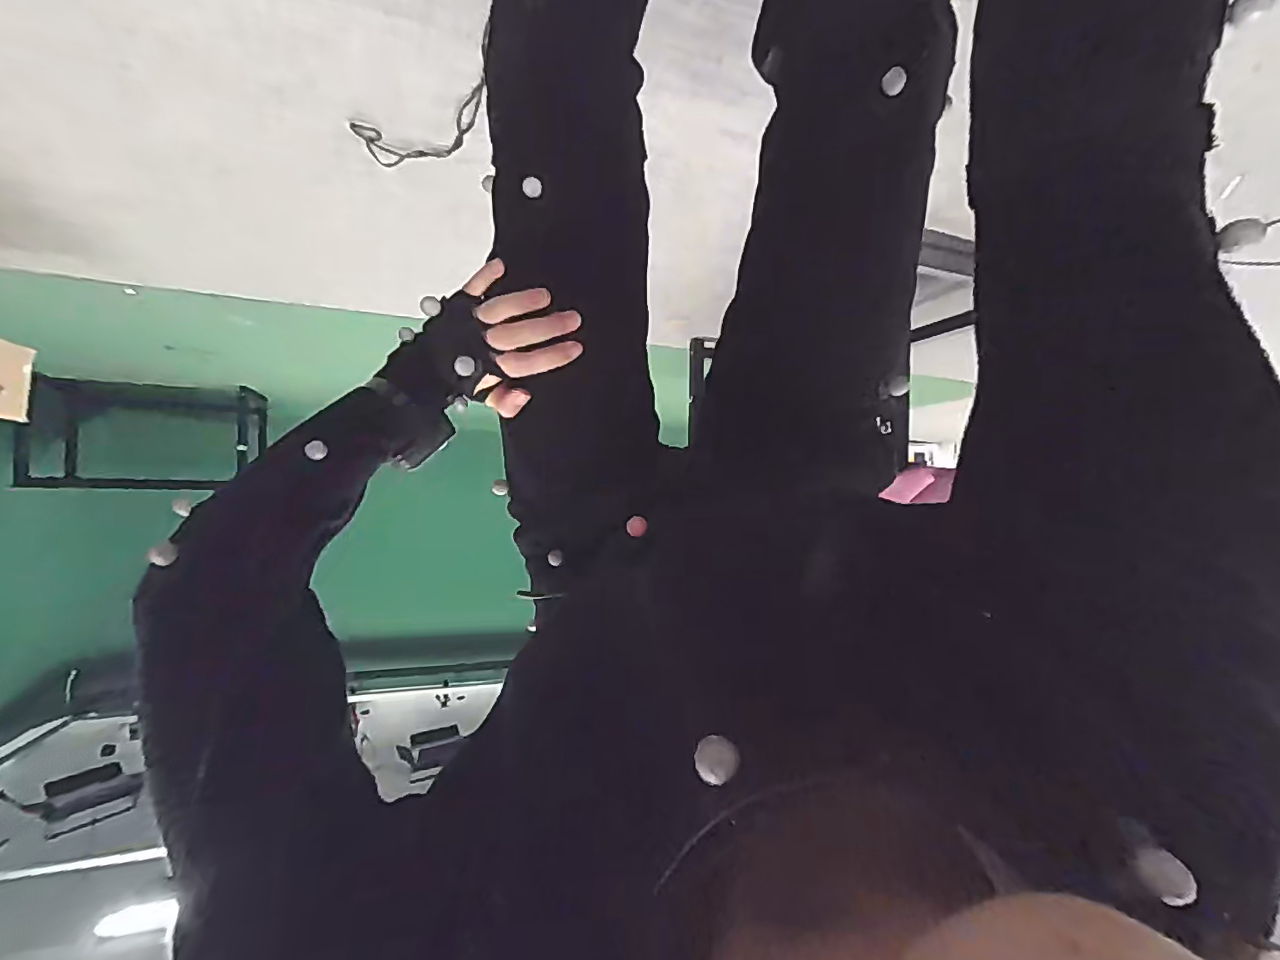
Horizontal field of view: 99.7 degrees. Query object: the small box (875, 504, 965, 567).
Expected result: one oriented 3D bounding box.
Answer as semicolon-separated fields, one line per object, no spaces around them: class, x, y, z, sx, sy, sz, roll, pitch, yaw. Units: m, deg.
small box;0.809;0.157;1.570;0.179;0.176;0.168;1;179;-18
